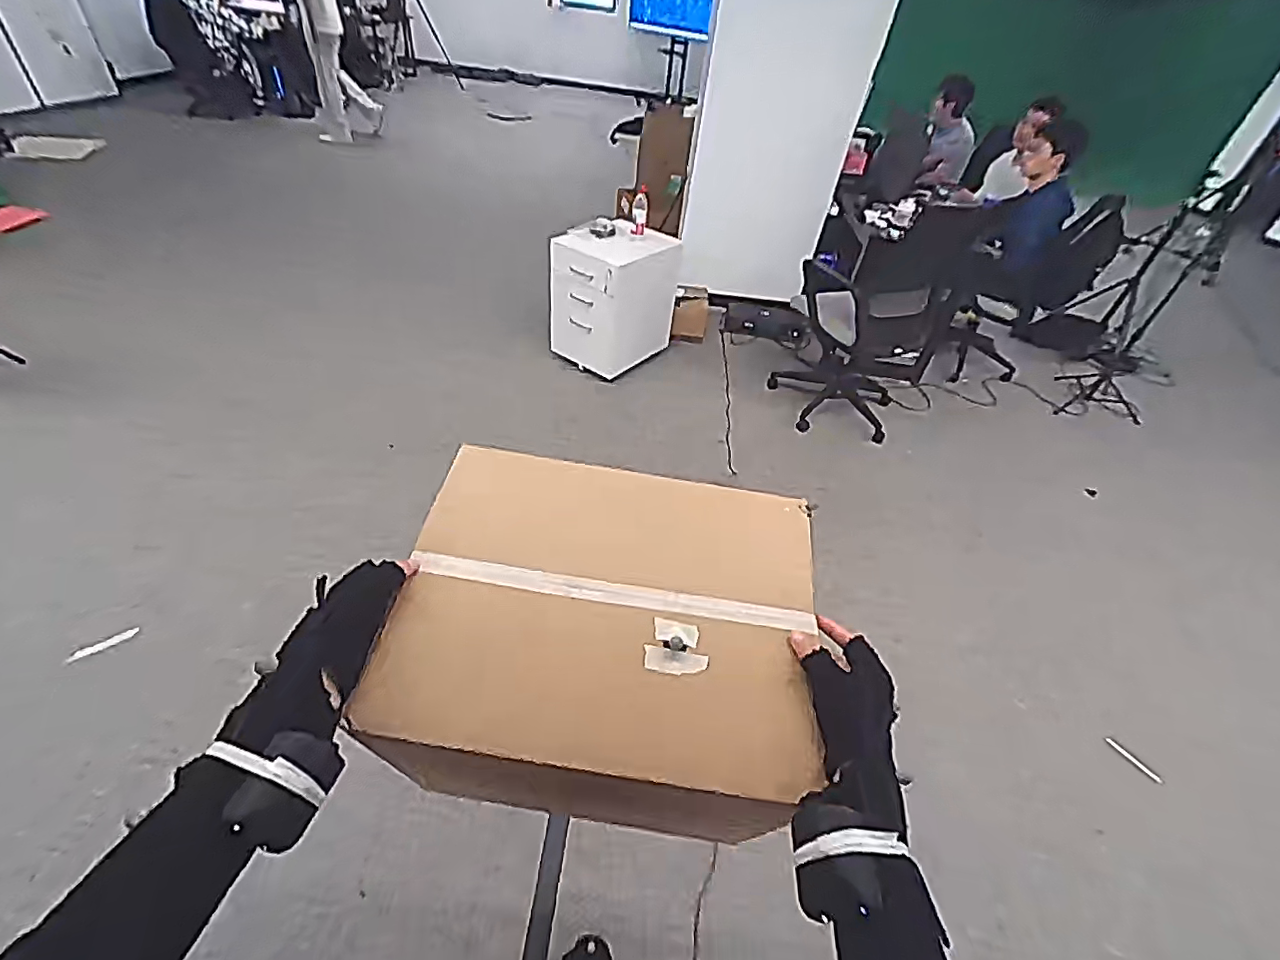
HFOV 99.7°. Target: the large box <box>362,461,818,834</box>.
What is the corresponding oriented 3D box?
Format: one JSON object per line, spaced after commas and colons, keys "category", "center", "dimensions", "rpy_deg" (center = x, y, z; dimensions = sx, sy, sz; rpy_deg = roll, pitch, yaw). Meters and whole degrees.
{"category": "large box", "center": [-0.042, 0.214, 0.667], "dimensions": [0.408, 0.320, 0.320], "rpy_deg": [9, 52, 0]}
